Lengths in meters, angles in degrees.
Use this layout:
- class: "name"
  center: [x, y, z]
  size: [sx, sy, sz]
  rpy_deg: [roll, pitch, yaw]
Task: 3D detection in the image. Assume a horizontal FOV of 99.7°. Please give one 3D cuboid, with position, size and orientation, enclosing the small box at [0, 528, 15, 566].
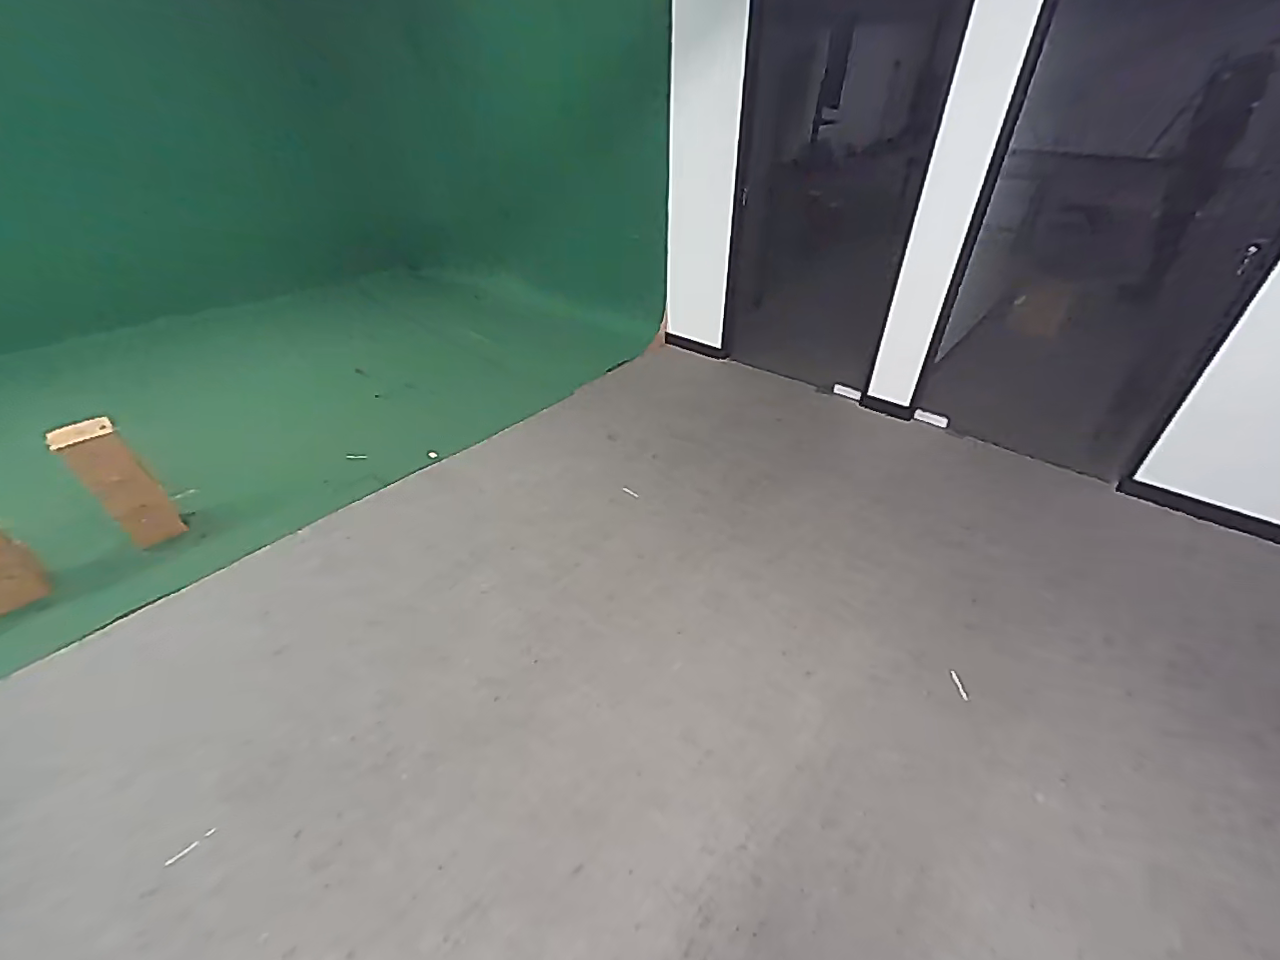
- class: "small box"
  center: [-2.283, 0.221, 1.826]
  size: [0.168, 0.176, 0.179]
  rpy_deg: [26, 45, 31]

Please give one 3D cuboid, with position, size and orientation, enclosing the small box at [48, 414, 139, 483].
- class: "small box"
  center: [-2.015, -0.116, 1.997]
  size: [0.168, 0.176, 0.179]
  rpy_deg: [30, 47, 34]

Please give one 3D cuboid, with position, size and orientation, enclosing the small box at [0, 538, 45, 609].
- class: "small box"
  center: [-2.290, 0.345, 1.932]
  size: [0.179, 0.176, 0.168]
  rpy_deg: [-30, 46, -32]

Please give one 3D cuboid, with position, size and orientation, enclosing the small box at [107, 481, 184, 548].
- class: "small box"
  center: [-2.006, 0.141, 2.202]
  size: [0.179, 0.176, 0.168]
  rpy_deg: [-31, 48, -34]
